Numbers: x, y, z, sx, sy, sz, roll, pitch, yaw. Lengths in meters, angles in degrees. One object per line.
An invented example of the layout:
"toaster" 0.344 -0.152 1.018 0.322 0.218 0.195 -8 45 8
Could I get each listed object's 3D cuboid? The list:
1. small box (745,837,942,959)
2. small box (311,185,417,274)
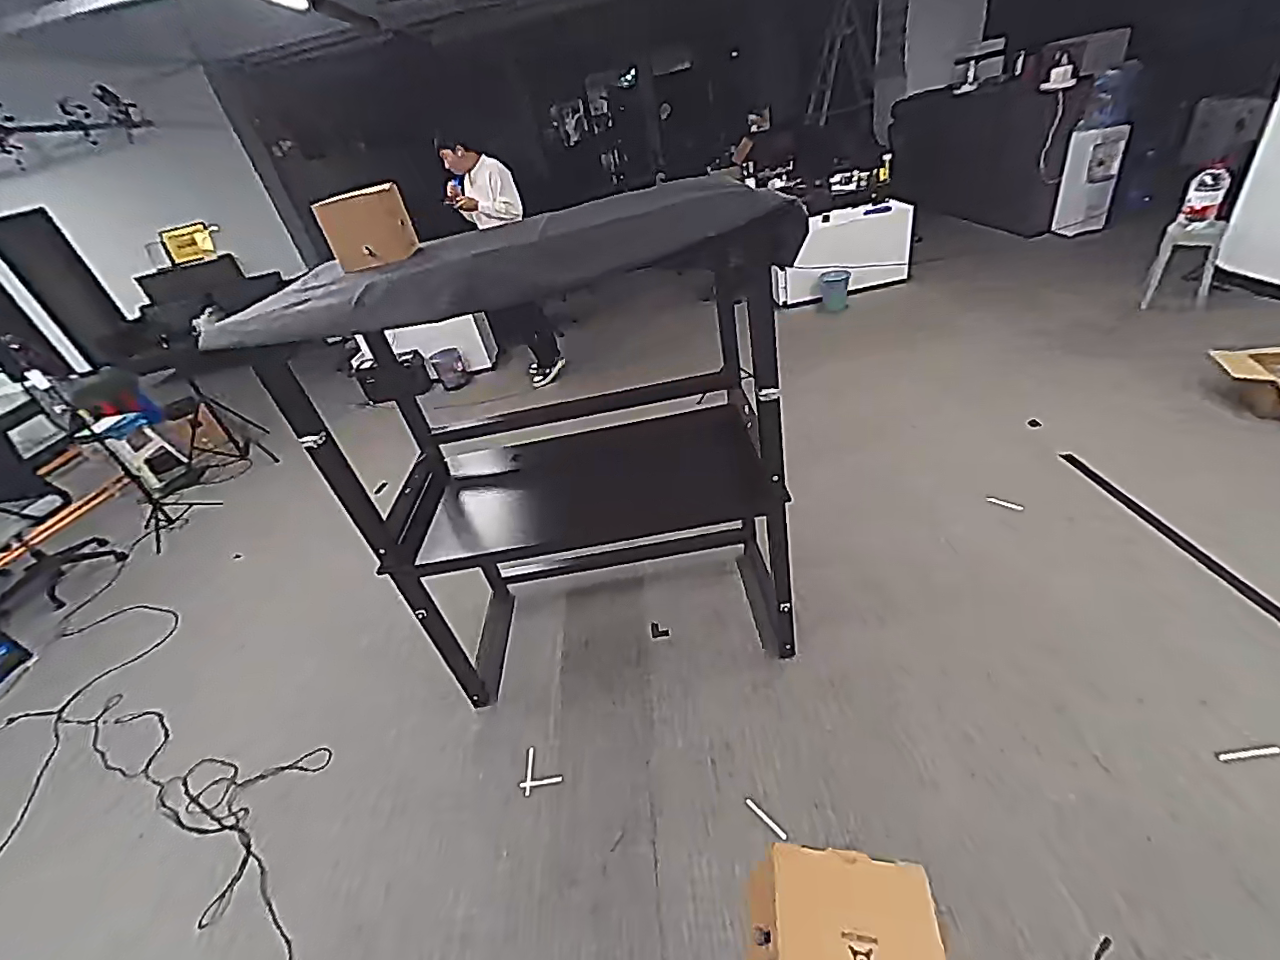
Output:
"small box" 0.207 0.518 0.572 0.168 0.176 0.179 7 39 4
"small box" -0.727 -0.671 1.449 0.179 0.176 0.168 -11 35 2
